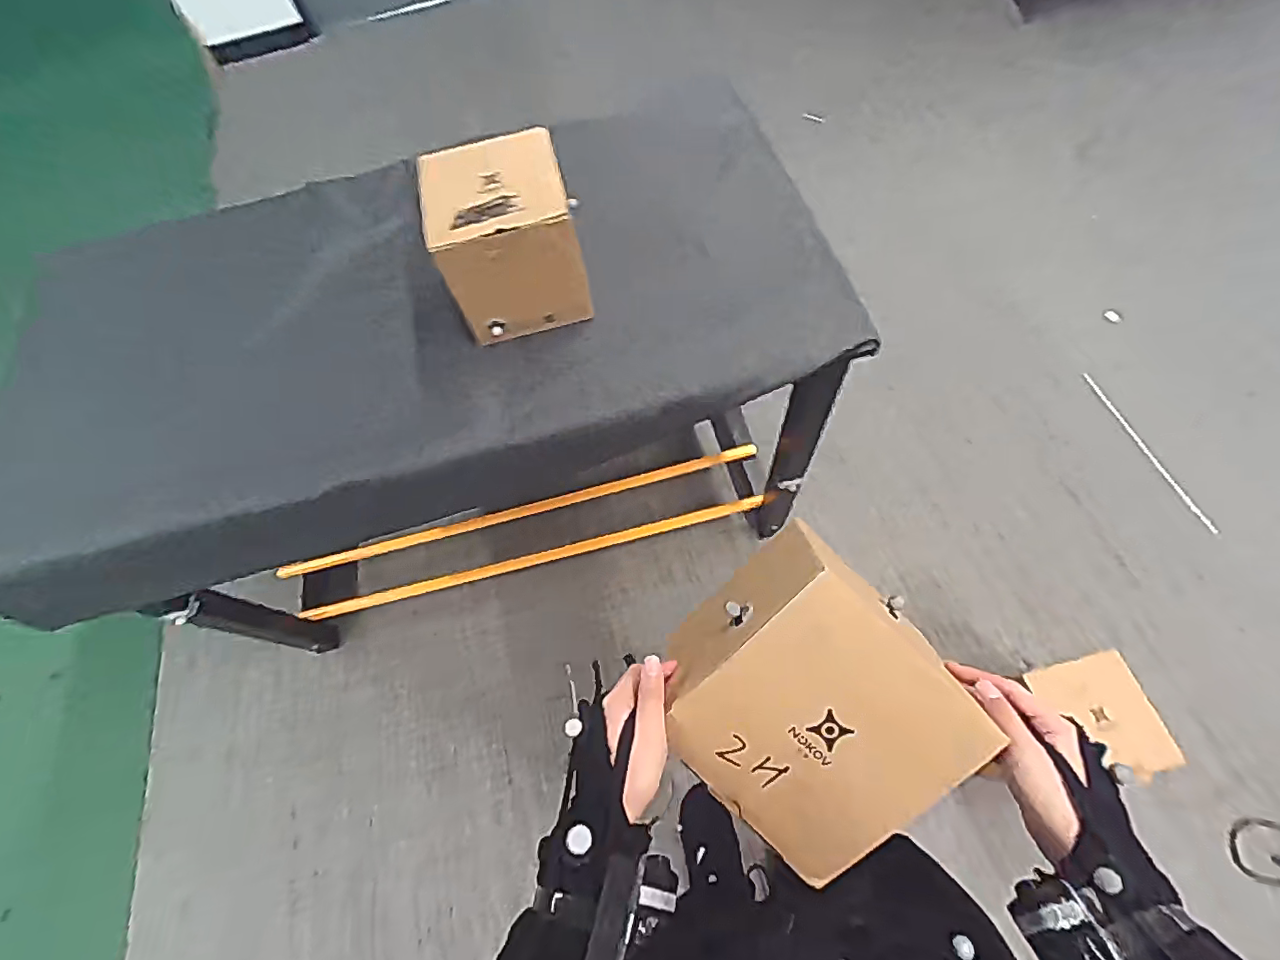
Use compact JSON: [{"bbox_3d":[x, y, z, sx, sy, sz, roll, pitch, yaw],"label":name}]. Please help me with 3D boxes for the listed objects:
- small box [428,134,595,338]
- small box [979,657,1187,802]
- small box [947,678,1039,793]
[{"bbox_3d":[-0.164,-0.311,0.719,0.168,0.176,0.179,-14,63,-1],"label":"small box"},{"bbox_3d":[0.718,0.412,0.903,0.168,0.176,0.179,-15,63,-2],"label":"small box"},{"bbox_3d":[0.738,0.484,1.048,0.168,0.176,0.179,-13,65,0],"label":"small box"}]
